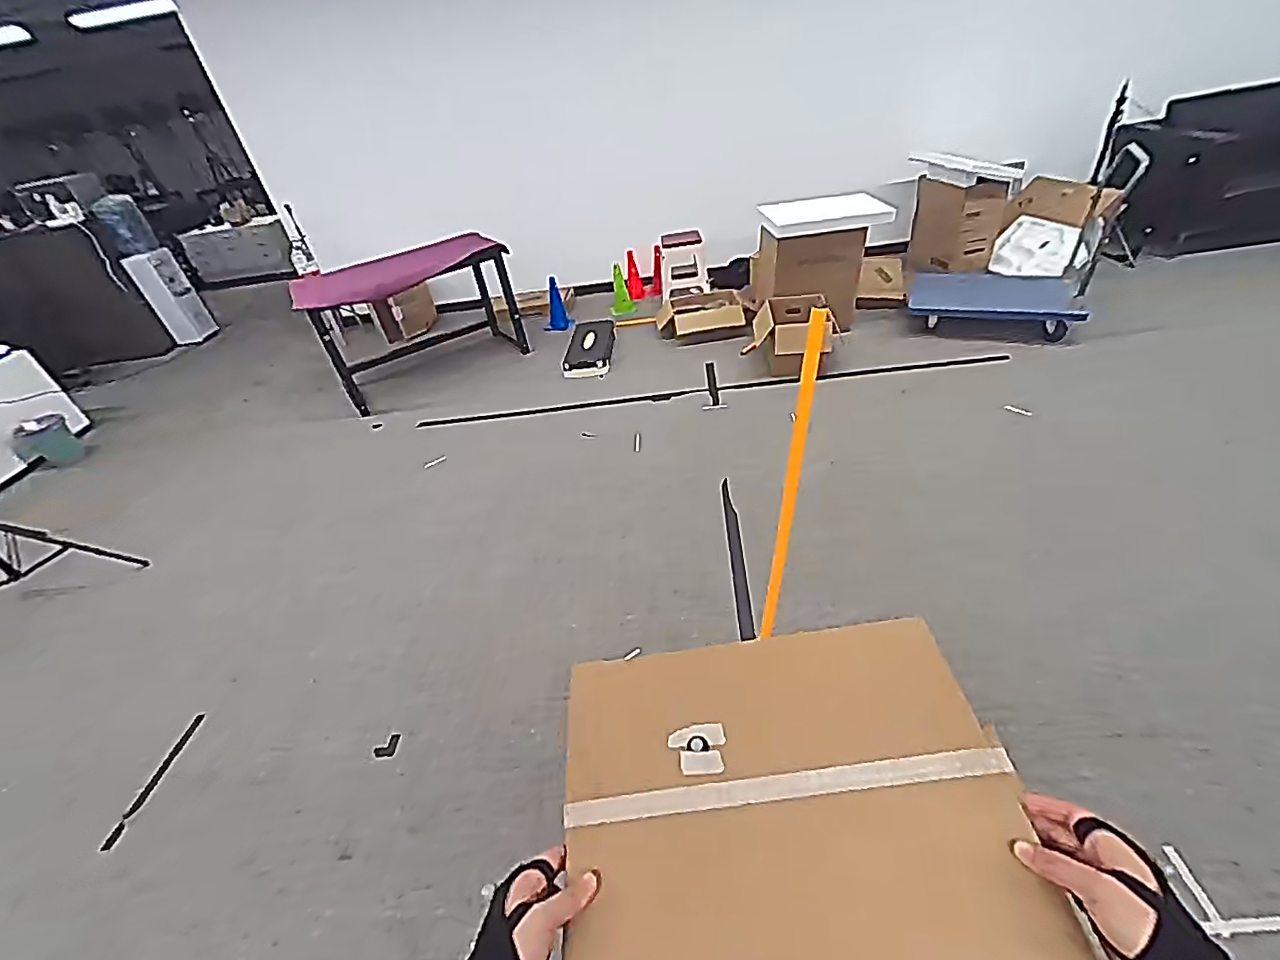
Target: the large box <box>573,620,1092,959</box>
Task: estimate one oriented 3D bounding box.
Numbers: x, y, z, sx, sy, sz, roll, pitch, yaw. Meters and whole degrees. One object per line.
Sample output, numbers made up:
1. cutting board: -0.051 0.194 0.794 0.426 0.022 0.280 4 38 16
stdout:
1. large box: 0.162 0.404 0.615 0.408 0.320 0.320 -11 41 6
